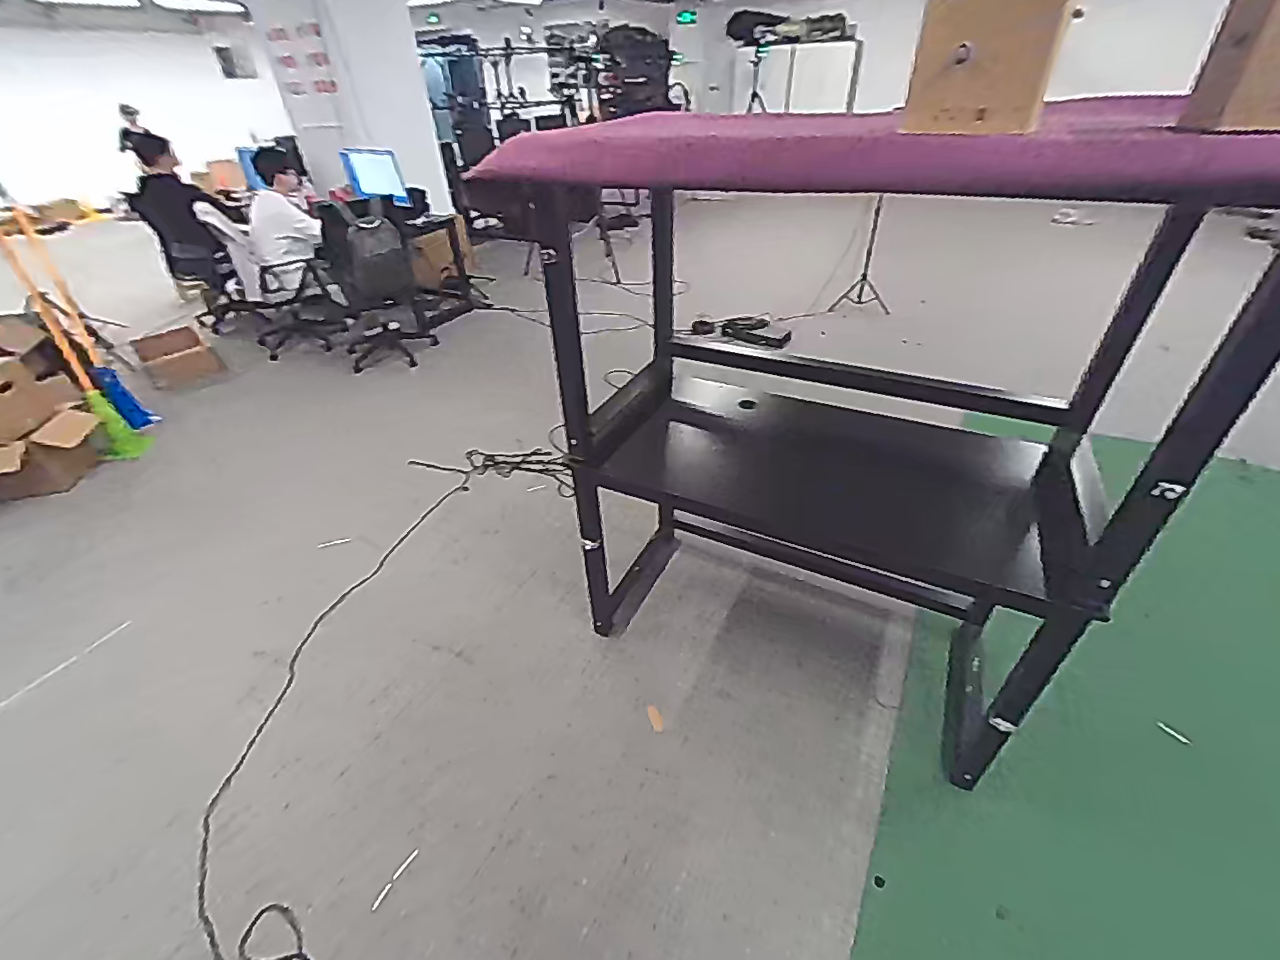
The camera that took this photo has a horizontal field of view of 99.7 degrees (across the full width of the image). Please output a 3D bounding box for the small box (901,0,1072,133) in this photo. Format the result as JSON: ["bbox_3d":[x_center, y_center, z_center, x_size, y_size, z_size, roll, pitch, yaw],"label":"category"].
[{"bbox_3d":[0.489,-0.596,0.769,0.168,0.176,0.179,20,40,27],"label":"small box"}]

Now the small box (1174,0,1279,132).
[{"bbox_3d":[0.795,-0.516,0.639,0.168,0.176,0.179,15,37,22],"label":"small box"}]
